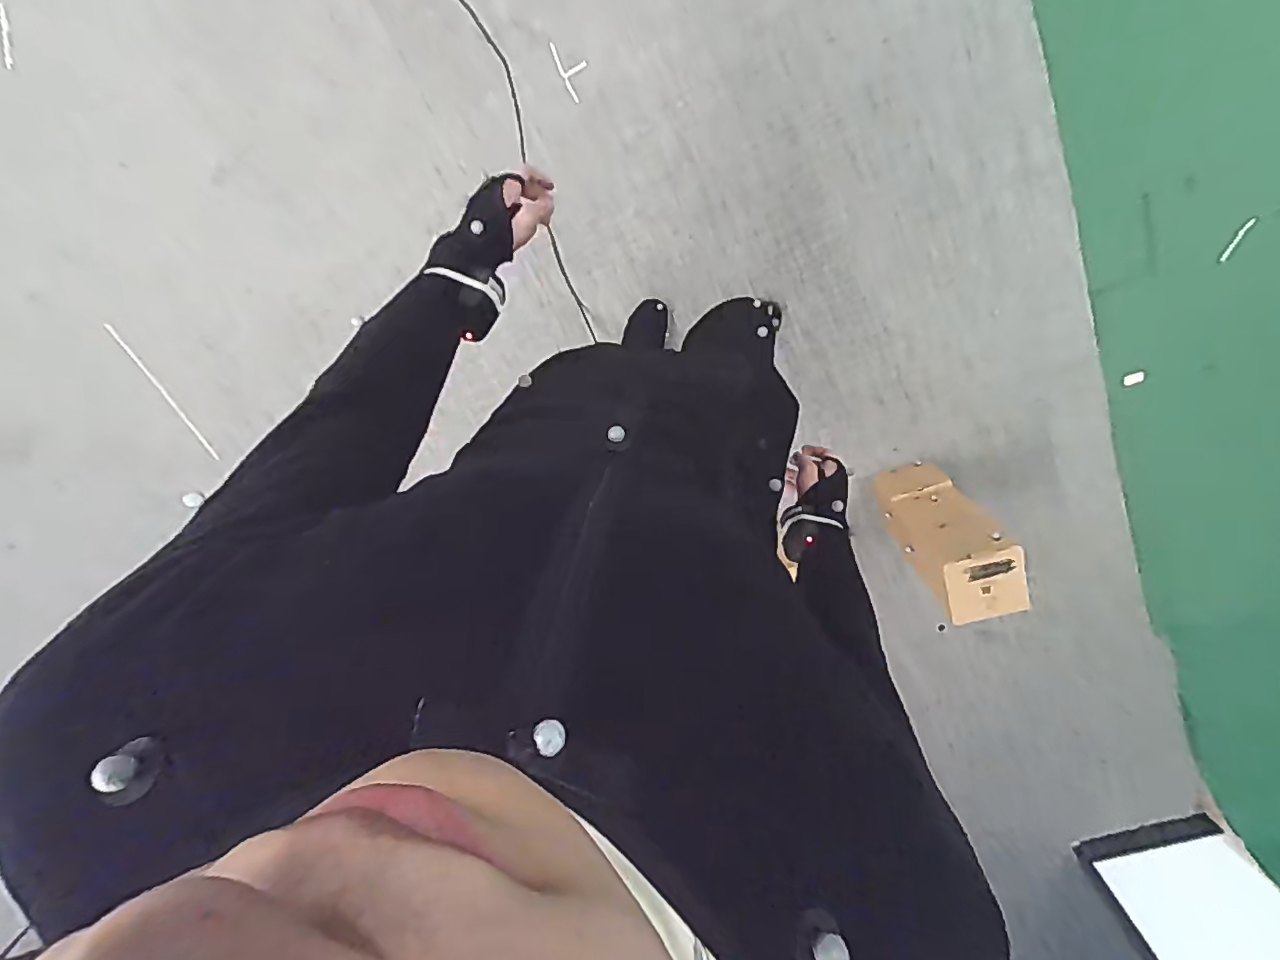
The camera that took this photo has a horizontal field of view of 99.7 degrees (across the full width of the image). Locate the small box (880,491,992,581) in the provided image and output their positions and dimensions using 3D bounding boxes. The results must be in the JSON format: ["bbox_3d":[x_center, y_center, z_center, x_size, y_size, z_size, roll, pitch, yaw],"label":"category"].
[{"bbox_3d":[0.777,0.142,1.440,0.179,0.176,0.168,12,111,-2],"label":"small box"}]

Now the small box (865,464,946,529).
[{"bbox_3d":[0.775,0.068,1.576,0.168,0.176,0.179,-18,111,11],"label":"small box"}]

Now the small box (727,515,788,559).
[{"bbox_3d":[0.376,0.224,1.663,0.168,0.176,0.179,-20,109,11],"label":"small box"}]
